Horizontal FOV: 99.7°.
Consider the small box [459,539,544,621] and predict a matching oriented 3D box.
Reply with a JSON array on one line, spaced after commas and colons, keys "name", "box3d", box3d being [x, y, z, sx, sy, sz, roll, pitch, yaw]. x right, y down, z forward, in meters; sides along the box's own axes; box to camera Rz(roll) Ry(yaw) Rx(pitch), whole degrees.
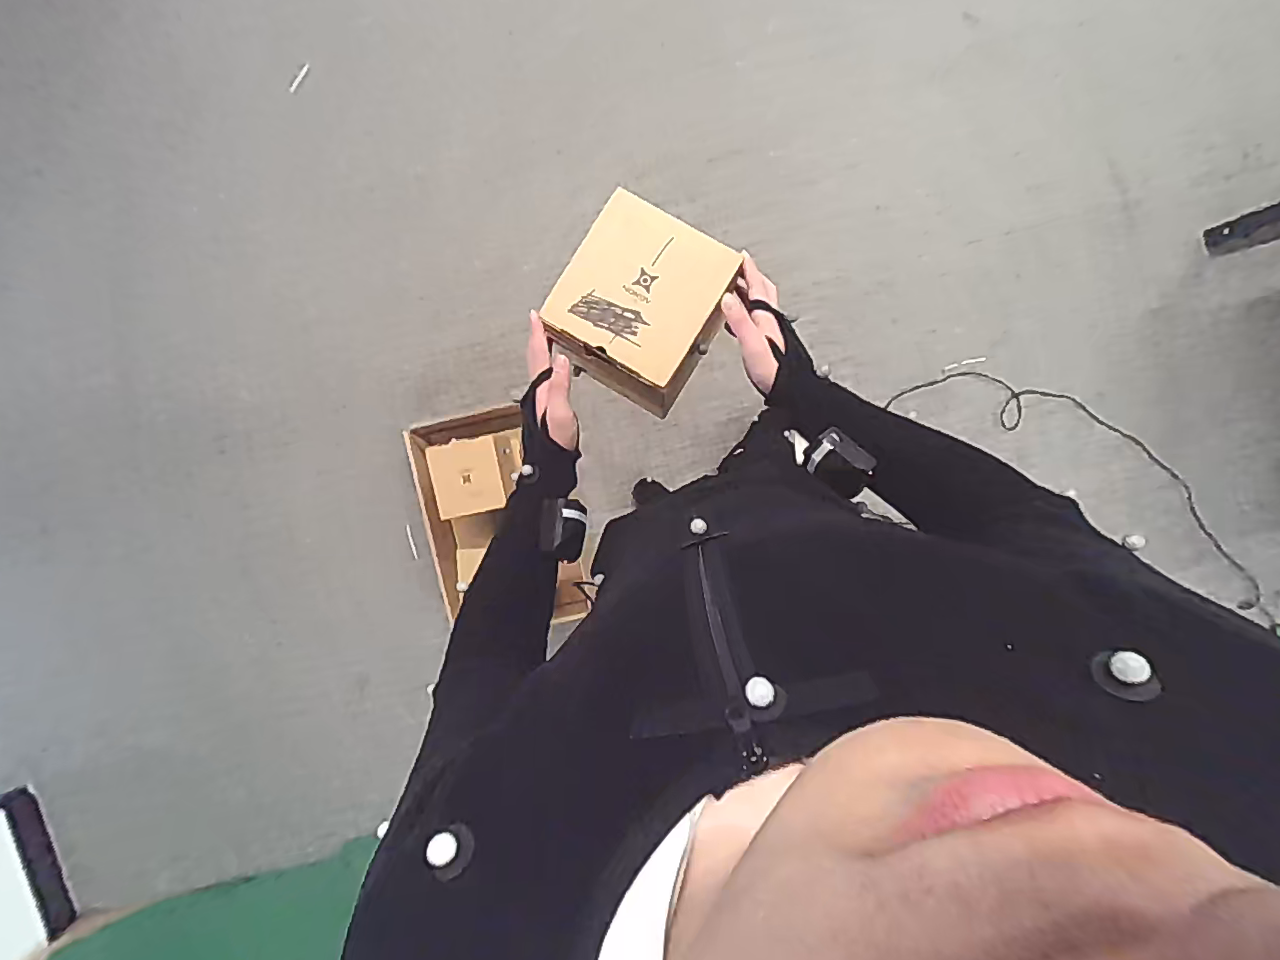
[{"name": "small box", "box3d": [-0.340, 0.242, 1.356, 0.168, 0.176, 0.179, -3, 92, 3]}]
